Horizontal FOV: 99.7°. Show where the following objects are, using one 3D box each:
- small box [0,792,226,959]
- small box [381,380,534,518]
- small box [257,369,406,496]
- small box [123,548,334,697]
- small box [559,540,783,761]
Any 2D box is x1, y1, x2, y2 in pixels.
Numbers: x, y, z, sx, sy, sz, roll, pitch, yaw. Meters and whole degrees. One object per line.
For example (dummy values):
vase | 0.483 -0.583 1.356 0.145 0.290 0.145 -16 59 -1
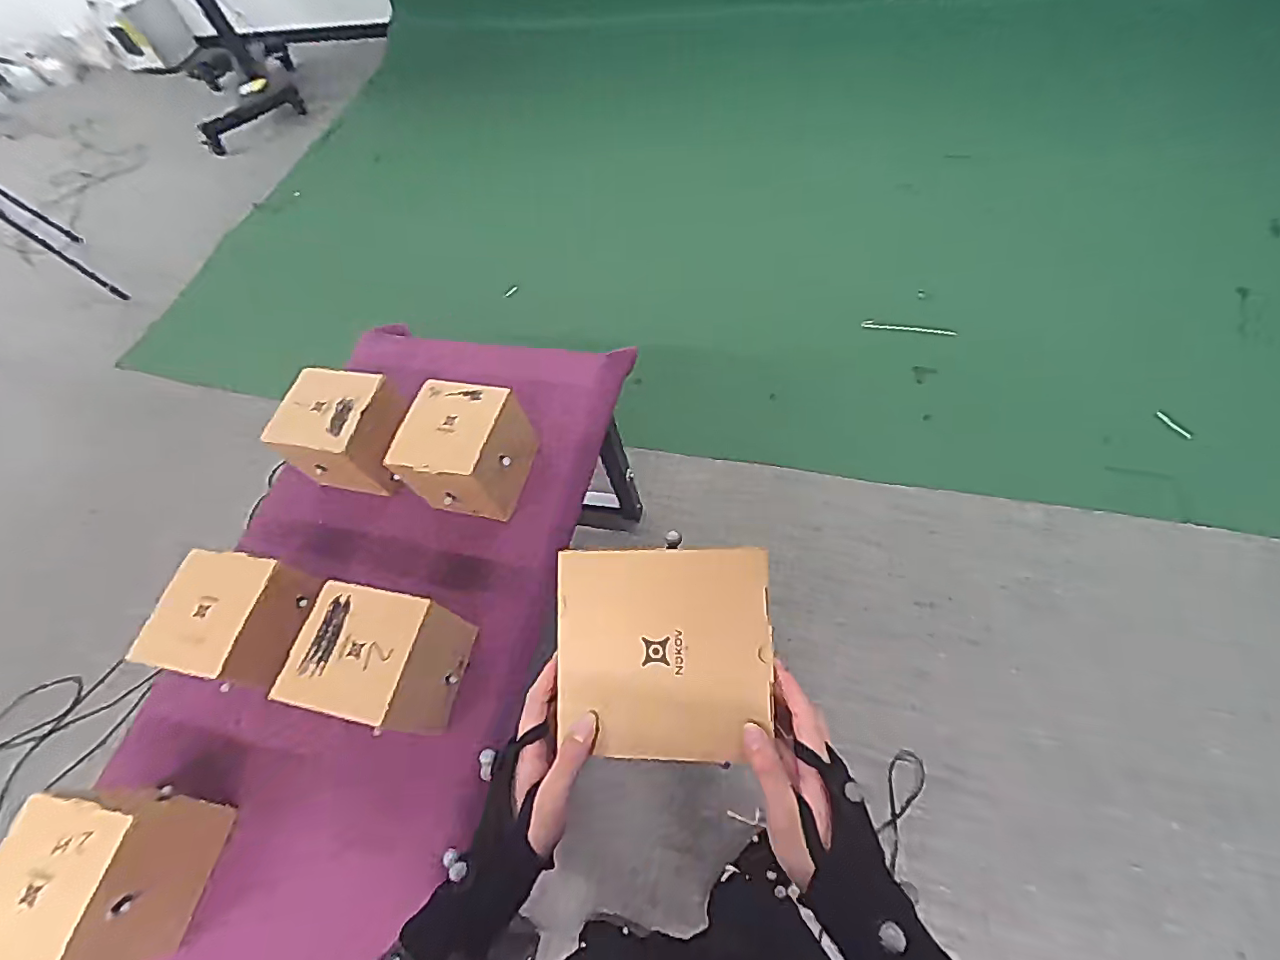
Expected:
small box | -0.699 0.520 0.700 0.168 0.176 0.179 5 62 12
small box | -0.306 -0.049 0.951 0.168 0.176 0.179 9 64 15
small box | -0.547 -0.084 1.013 0.179 0.176 0.168 8 63 14
small box | -0.626 0.229 0.854 0.168 0.176 0.179 6 63 13
small box | 0.033 0.143 0.504 0.179 0.176 0.168 -2 82 8
